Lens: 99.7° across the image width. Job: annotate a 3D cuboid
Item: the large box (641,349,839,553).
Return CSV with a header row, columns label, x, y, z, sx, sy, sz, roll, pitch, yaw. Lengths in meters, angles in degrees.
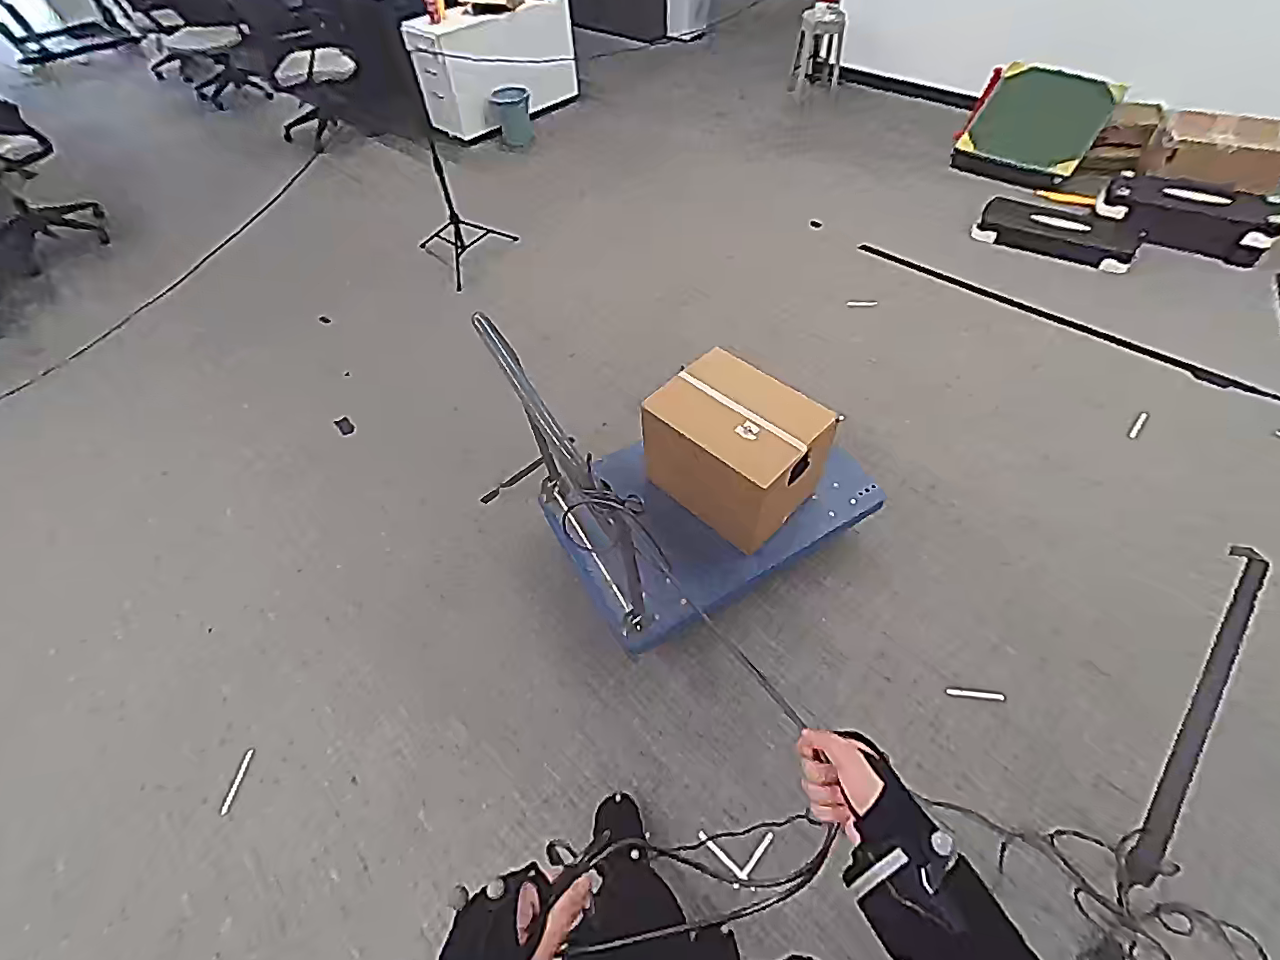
label,x,y,z,sx,sy,sz,roll,pitch,yaw
large box,0.249,-0.082,1.475,0.408,0.320,0.320,38,64,26
